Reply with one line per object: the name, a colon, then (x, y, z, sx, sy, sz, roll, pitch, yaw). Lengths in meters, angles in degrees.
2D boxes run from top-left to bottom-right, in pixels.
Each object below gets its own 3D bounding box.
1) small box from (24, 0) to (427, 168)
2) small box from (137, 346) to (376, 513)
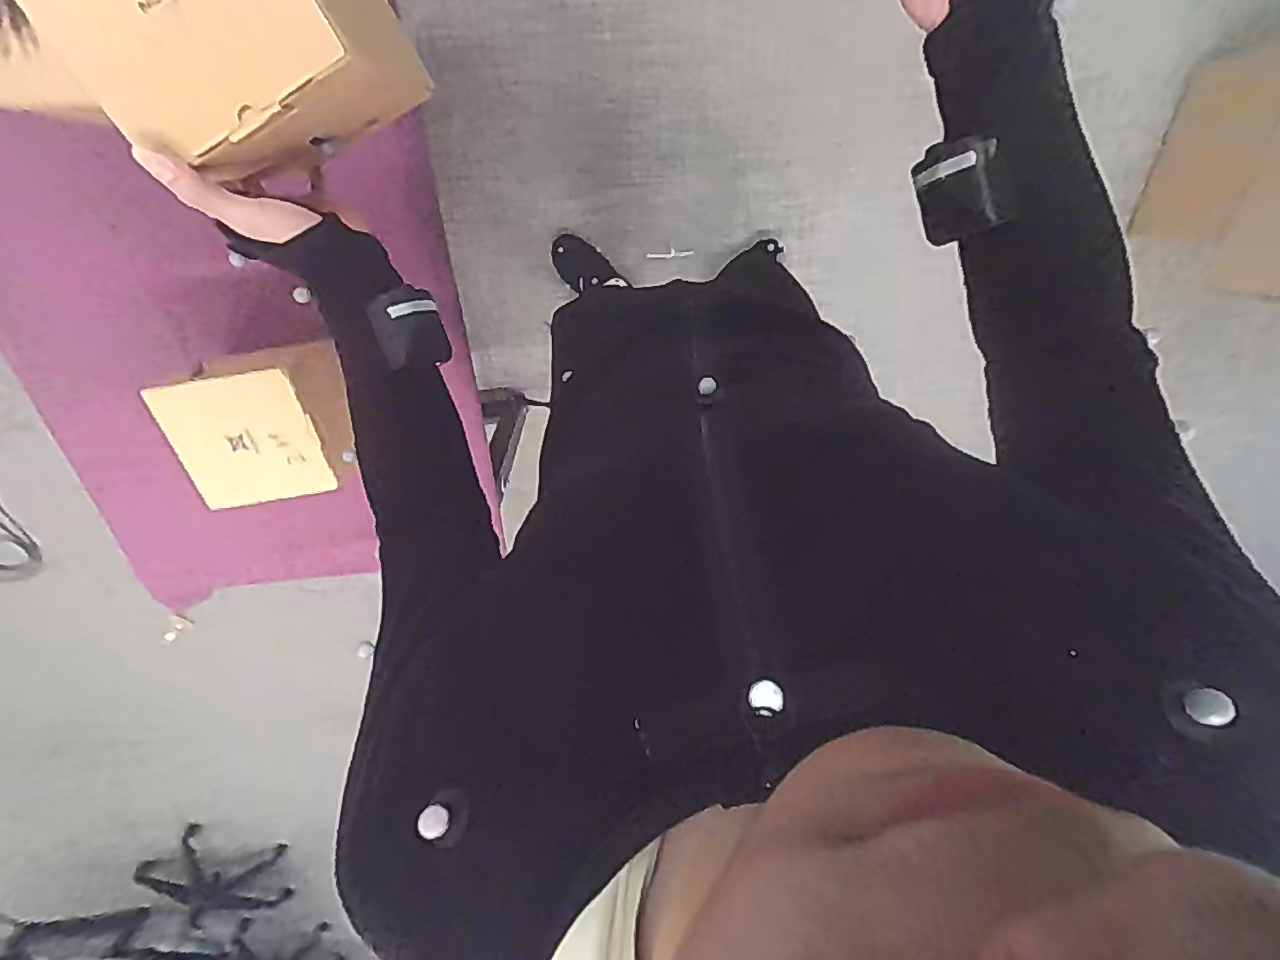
small box: (-0.286, -0.343, 0.379, 0.168, 0.176, 0.179, -22, 119, 11)
small box: (-0.496, -0.075, 0.734, 0.179, 0.176, 0.168, -9, 117, 0)
